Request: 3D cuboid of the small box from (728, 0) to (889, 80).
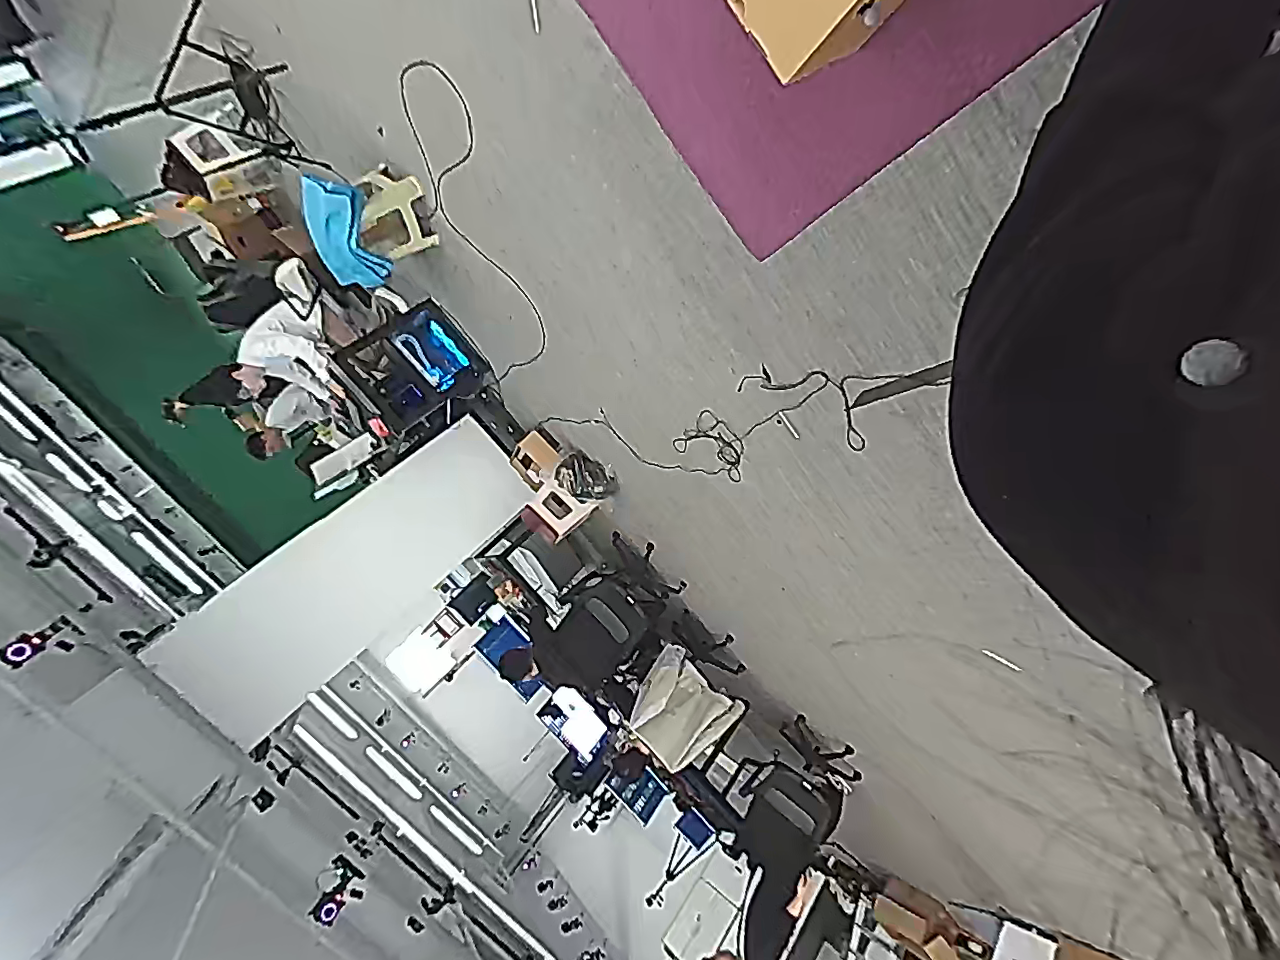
[{"bbox_3d":[0.182,-0.526,0.489,0.168,0.176,0.179,51,153,-11],"label":"small box"}]
